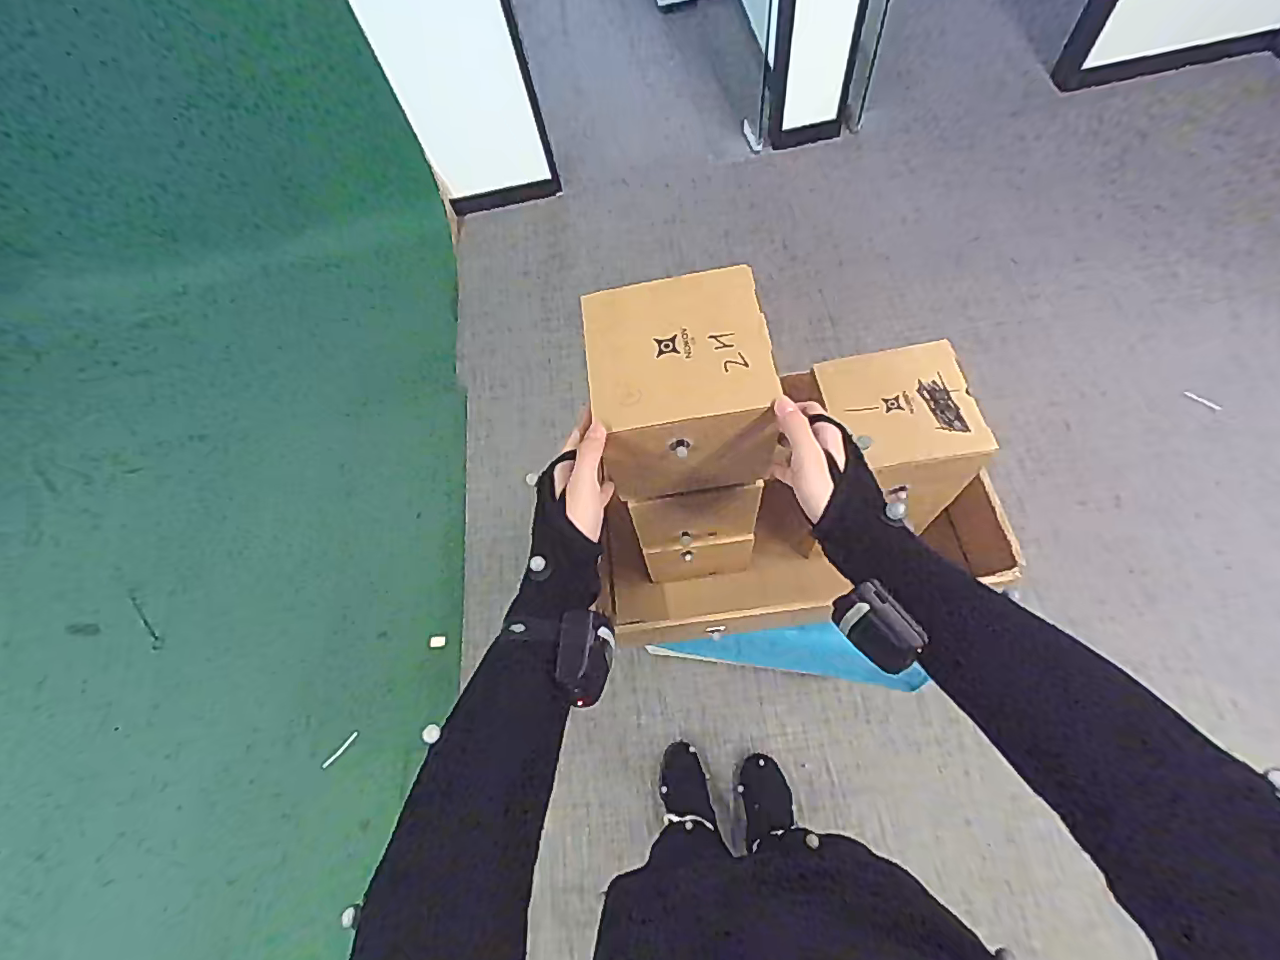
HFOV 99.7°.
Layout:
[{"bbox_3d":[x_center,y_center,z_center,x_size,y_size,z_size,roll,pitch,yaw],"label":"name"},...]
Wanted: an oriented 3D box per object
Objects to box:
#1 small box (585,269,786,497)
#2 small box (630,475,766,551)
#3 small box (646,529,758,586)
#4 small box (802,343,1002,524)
[{"bbox_3d":[0.048,-0.092,0.584,0.179,0.176,0.168,-9,66,4],"label":"small box"},{"bbox_3d":[0.070,-0.018,0.750,0.168,0.176,0.179,-9,63,4],"label":"small box"},{"bbox_3d":[0.092,0.060,0.892,0.168,0.176,0.179,-9,62,4],"label":"small box"},{"bbox_3d":[0.332,-0.055,0.727,0.179,0.176,0.168,-10,62,5],"label":"small box"}]
